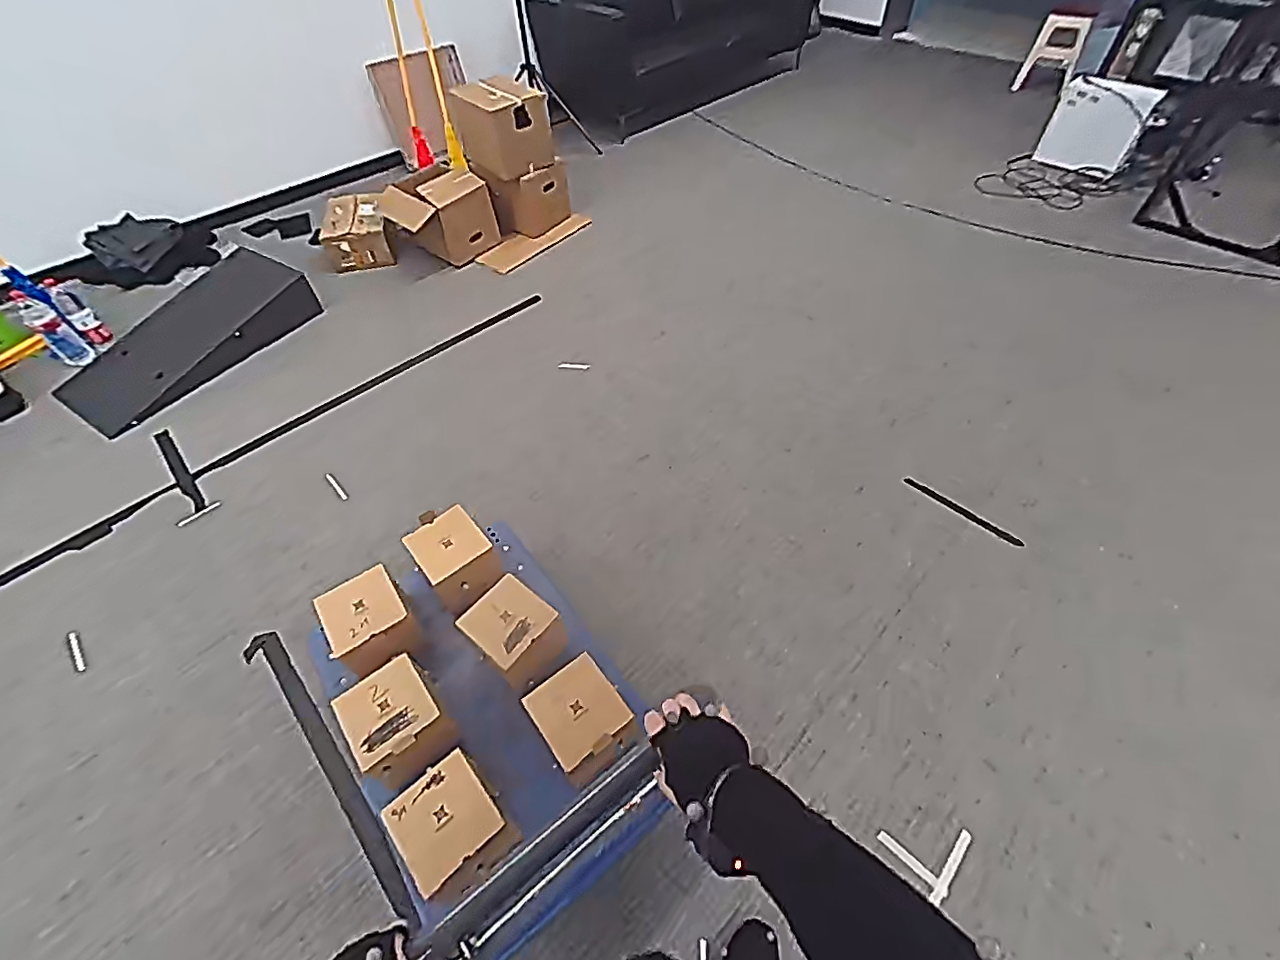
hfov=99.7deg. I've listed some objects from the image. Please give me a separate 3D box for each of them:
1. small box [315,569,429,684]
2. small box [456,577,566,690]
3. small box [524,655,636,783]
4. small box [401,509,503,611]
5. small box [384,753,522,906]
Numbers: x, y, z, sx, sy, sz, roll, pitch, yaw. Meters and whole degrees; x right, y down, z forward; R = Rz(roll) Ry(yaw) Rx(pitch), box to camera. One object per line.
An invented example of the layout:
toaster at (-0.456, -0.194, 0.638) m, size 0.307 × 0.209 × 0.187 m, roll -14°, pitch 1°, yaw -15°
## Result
small box at (-0.636, 0.354, 1.297) m, size 0.168 × 0.176 × 0.179 m, roll -32°, pitch 58°, yaw -21°
small box at (-0.294, 0.369, 1.278) m, size 0.179 × 0.176 × 0.168 m, roll 31°, pitch 58°, yaw 25°
small box at (-0.121, 0.517, 1.157) m, size 0.168 × 0.176 × 0.179 m, roll -32°, pitch 57°, yaw -23°
small box at (-0.480, 0.216, 1.406) m, size 0.168 × 0.176 × 0.179 m, roll -36°, pitch 59°, yaw -24°
small box at (-0.348, 0.668, 1.038) m, size 0.168 × 0.176 × 0.179 m, roll -36°, pitch 59°, yaw -25°
